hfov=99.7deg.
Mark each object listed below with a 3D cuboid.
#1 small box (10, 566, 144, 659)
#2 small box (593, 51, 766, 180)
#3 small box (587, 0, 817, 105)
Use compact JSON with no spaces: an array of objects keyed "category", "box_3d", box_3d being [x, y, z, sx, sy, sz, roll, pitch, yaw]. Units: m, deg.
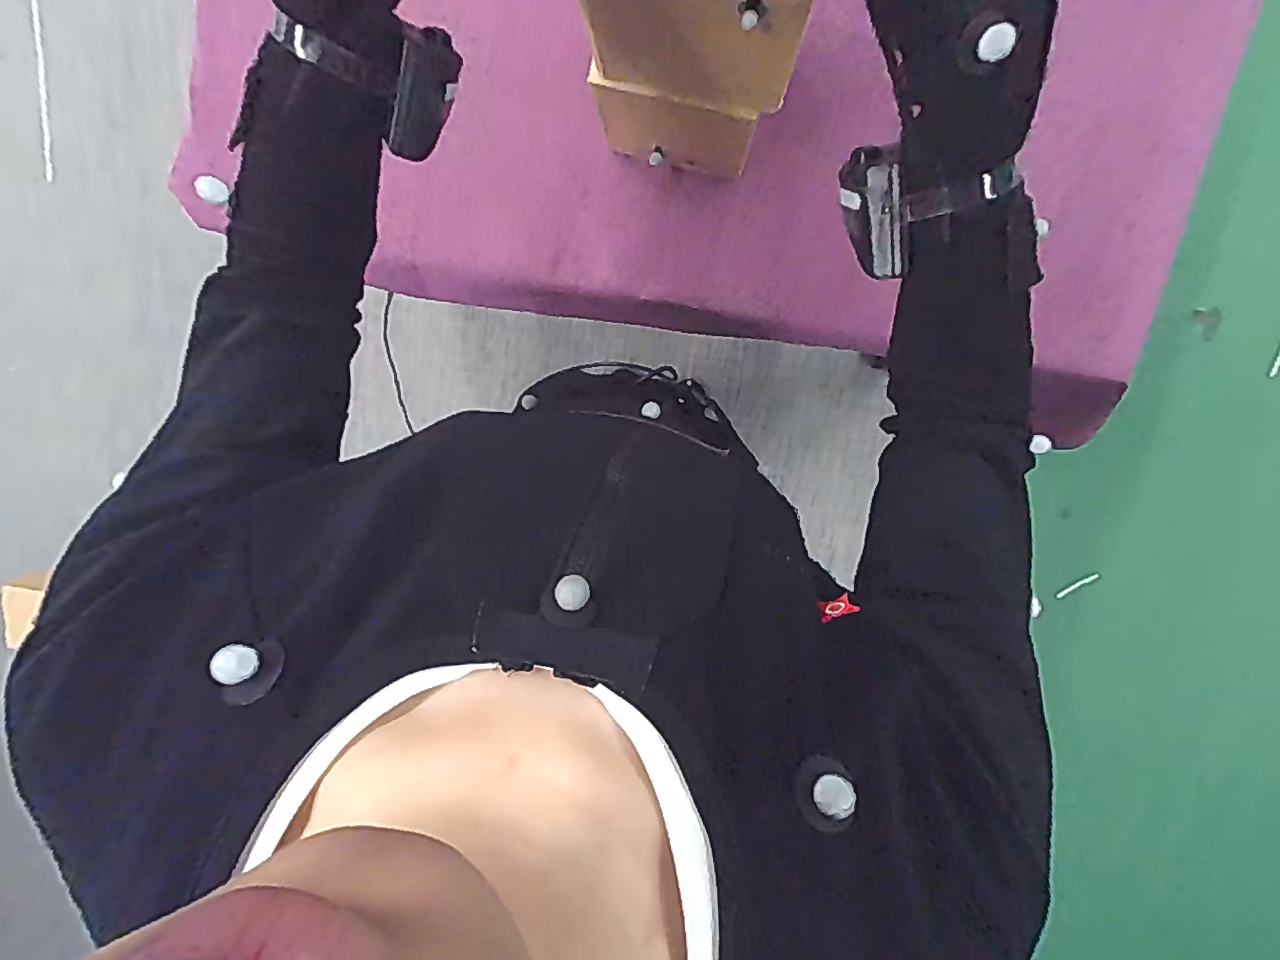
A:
[{"category":"small box","box_3d":[-1.413,0.329,1.373,0.179,0.176,0.168,8,102,2]},{"category":"small box","box_3d":[0.058,-0.449,0.563,0.168,0.176,0.179,14,102,1]},{"category":"small box","box_3d":[0.055,-0.419,0.404,0.179,0.176,0.168,12,101,1]}]
